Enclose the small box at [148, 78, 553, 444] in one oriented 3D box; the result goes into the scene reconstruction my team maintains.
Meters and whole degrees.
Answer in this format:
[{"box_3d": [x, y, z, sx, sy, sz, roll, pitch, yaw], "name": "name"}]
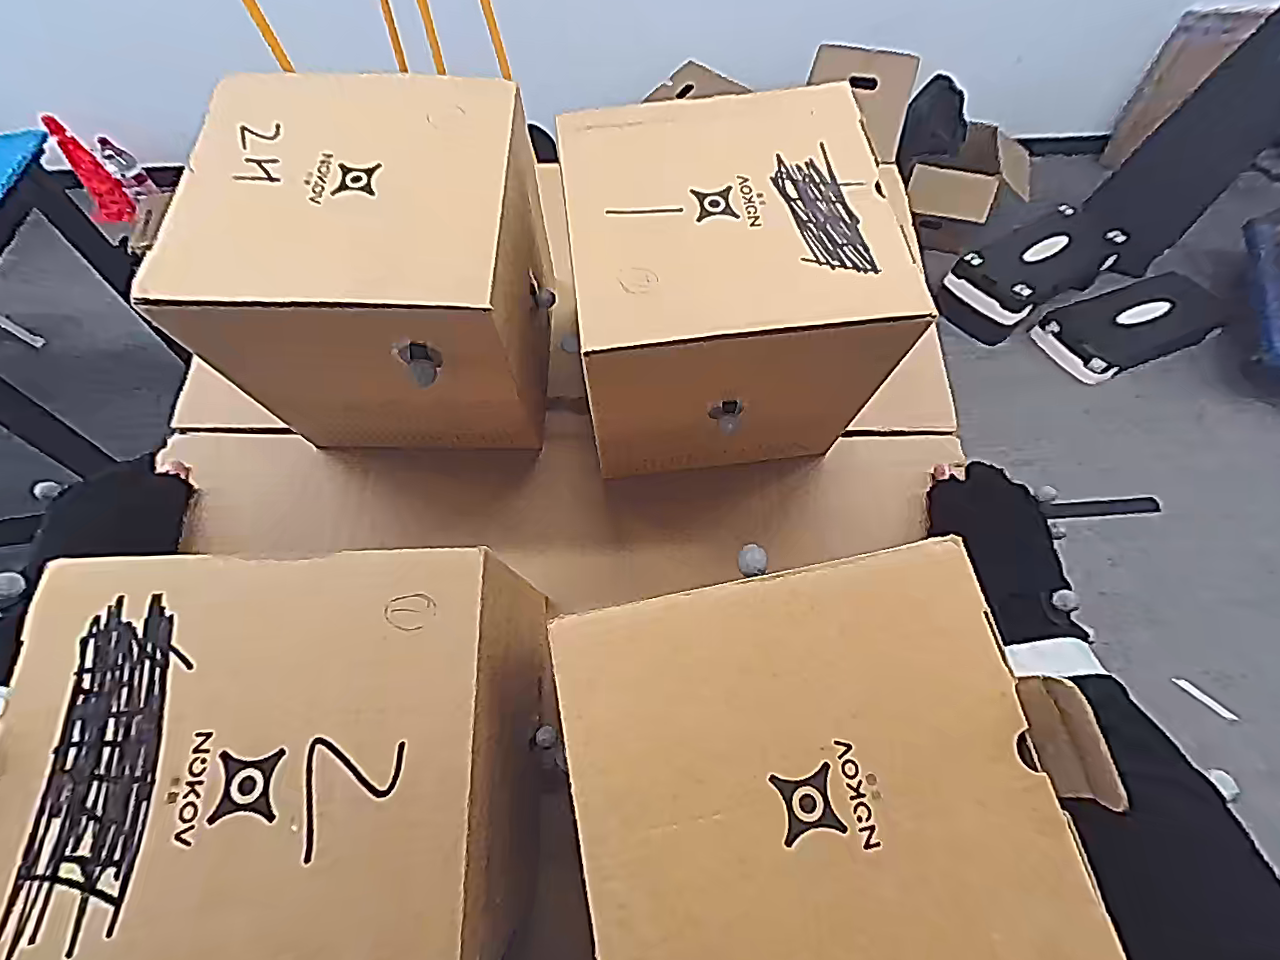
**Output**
[{"box_3d": [-0.160, -0.133, 0.374, 0.179, 0.176, 0.168, 2, 69, 0], "name": "small box"}]
